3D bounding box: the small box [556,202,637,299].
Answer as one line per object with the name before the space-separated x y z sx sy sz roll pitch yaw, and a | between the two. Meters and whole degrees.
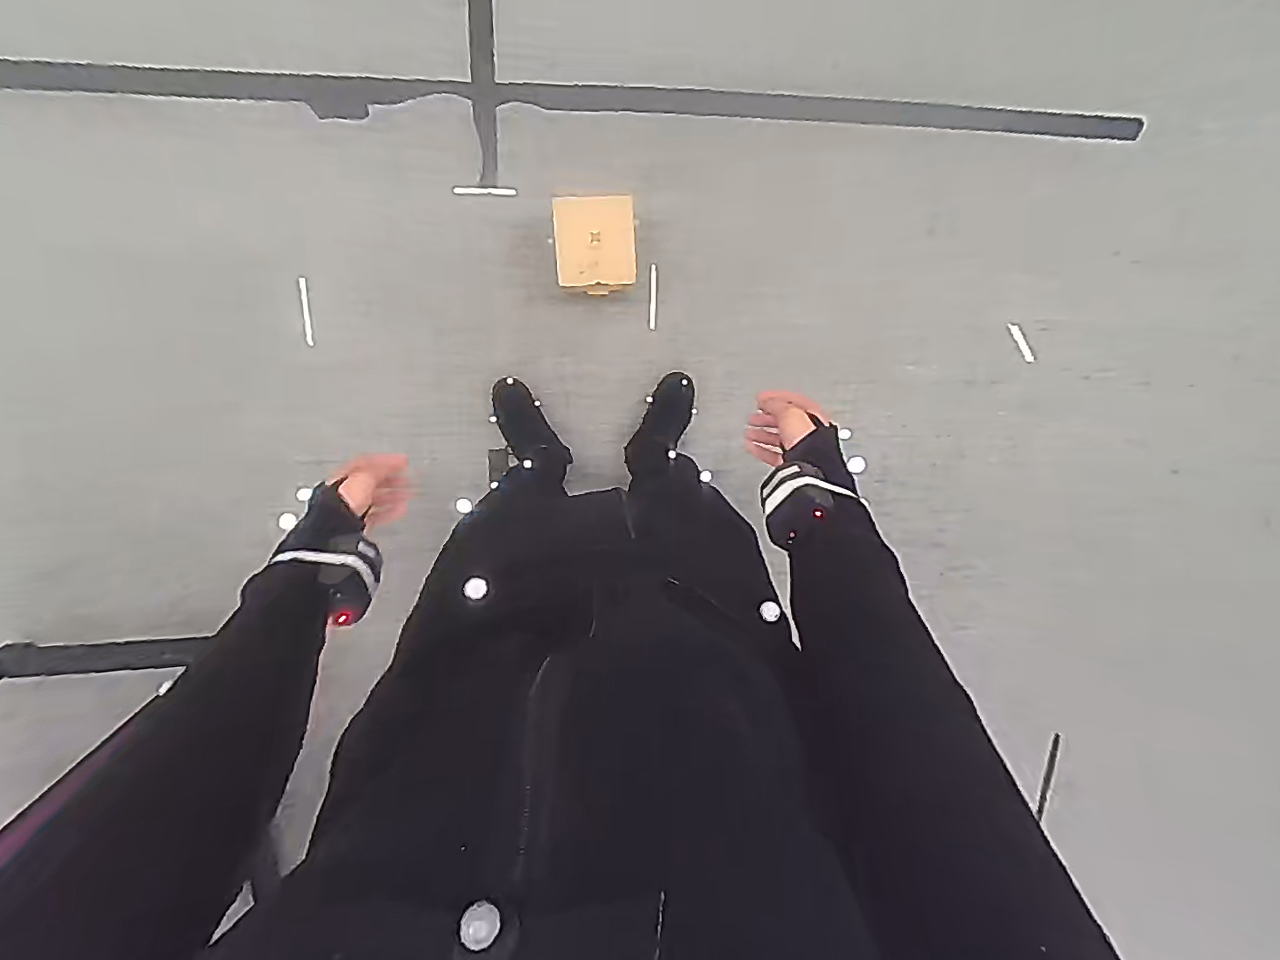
small box | -0.098 -0.501 1.198 0.168 0.176 0.179 -4 106 -6
